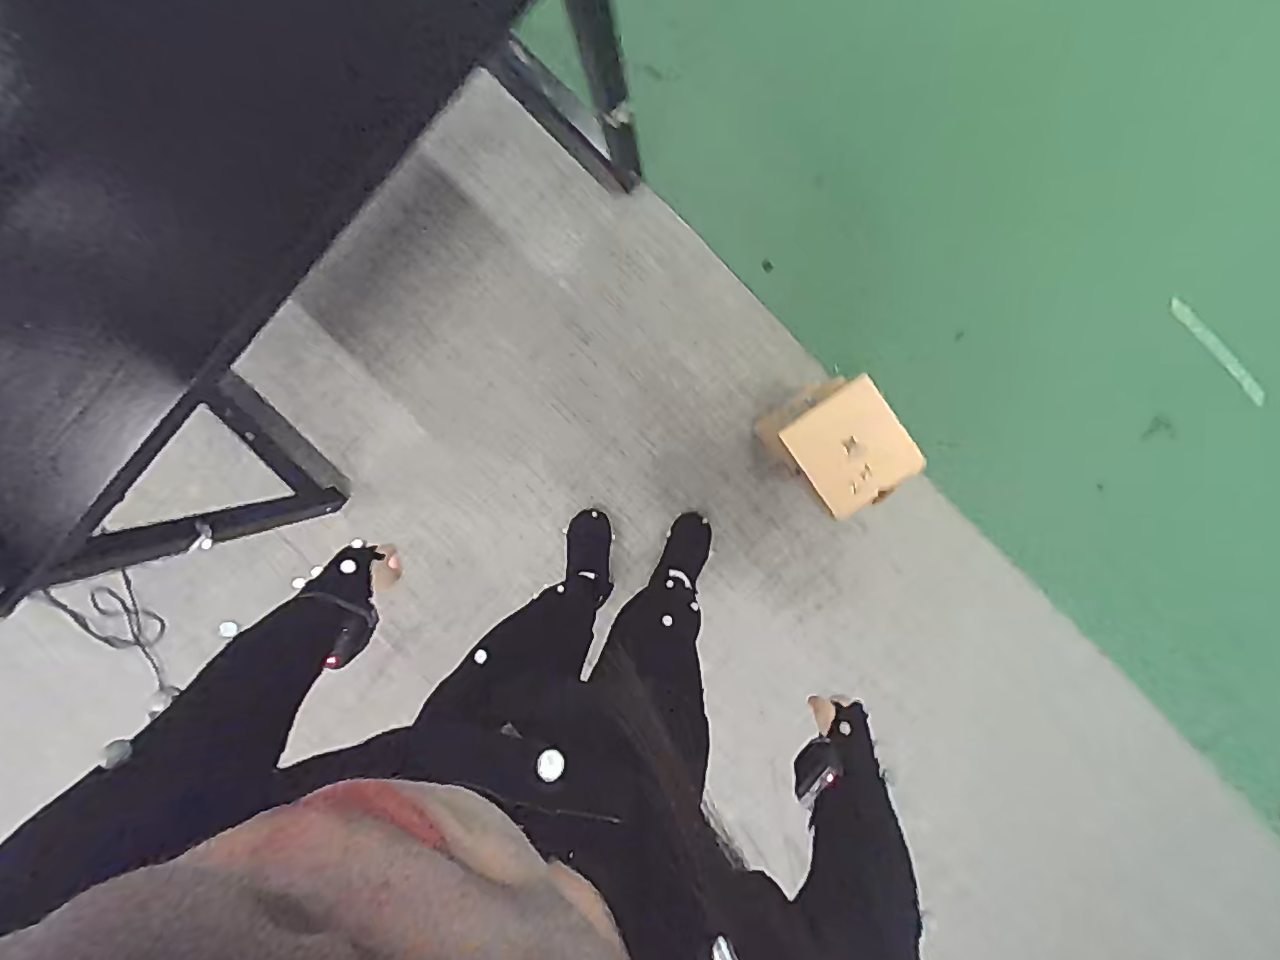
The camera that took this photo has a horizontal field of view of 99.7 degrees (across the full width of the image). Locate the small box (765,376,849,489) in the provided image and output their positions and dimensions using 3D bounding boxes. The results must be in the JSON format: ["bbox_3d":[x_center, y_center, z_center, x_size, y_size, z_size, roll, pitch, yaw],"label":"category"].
[{"bbox_3d":[0.367,-0.085,1.085,0.179,0.176,0.168,-37,91,8],"label":"small box"}]

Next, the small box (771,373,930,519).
[{"bbox_3d":[0.343,-0.058,0.922,0.168,0.176,0.179,-35,92,8],"label":"small box"}]
